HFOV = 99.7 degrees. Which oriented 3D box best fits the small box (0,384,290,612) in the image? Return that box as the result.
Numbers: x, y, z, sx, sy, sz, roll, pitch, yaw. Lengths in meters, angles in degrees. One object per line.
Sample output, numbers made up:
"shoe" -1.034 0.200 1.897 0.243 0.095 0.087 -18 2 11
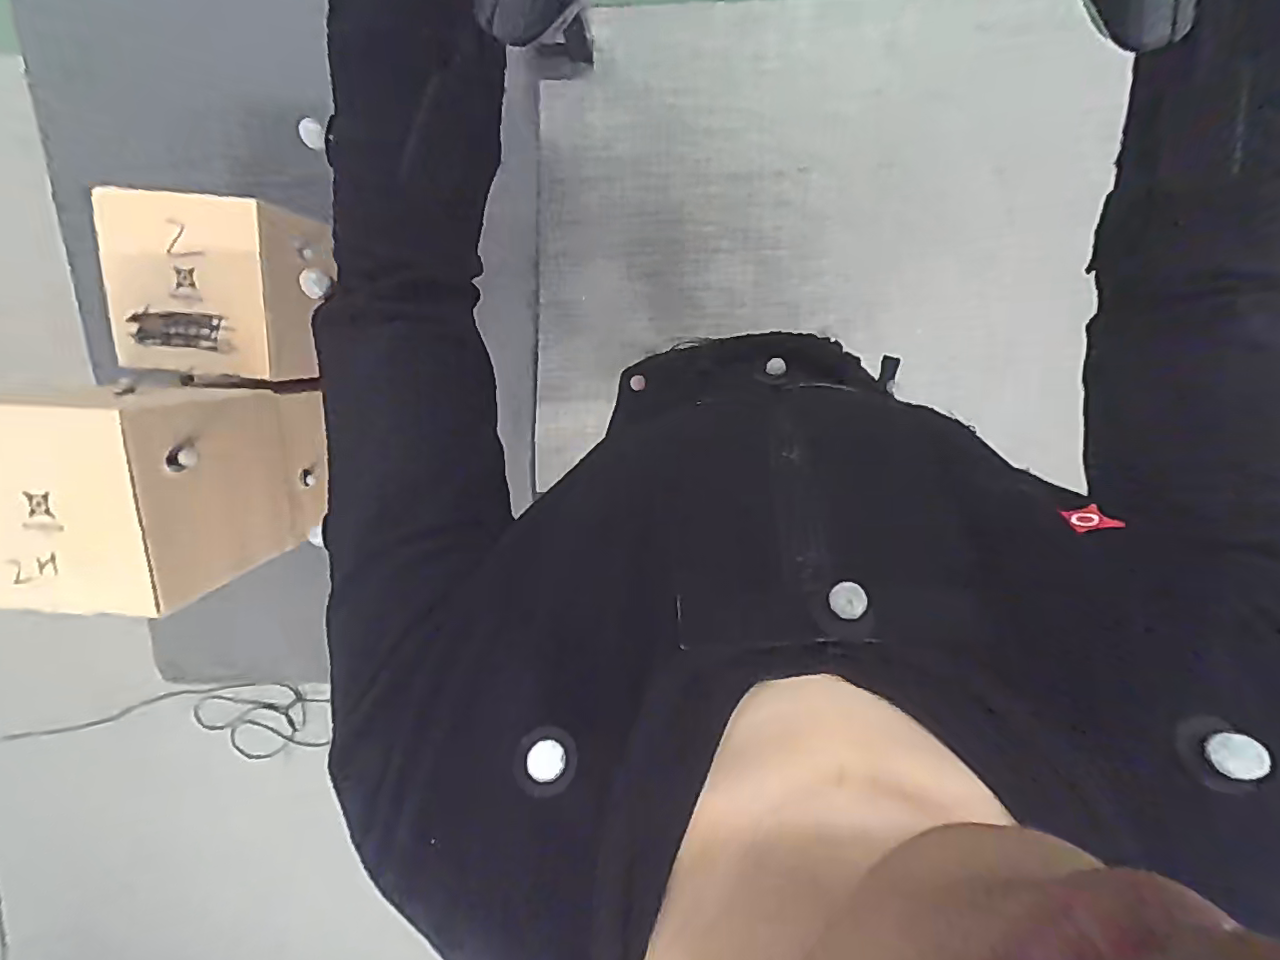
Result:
"small box" -0.464 0.003 0.504 0.168 0.176 0.179 3 103 2
